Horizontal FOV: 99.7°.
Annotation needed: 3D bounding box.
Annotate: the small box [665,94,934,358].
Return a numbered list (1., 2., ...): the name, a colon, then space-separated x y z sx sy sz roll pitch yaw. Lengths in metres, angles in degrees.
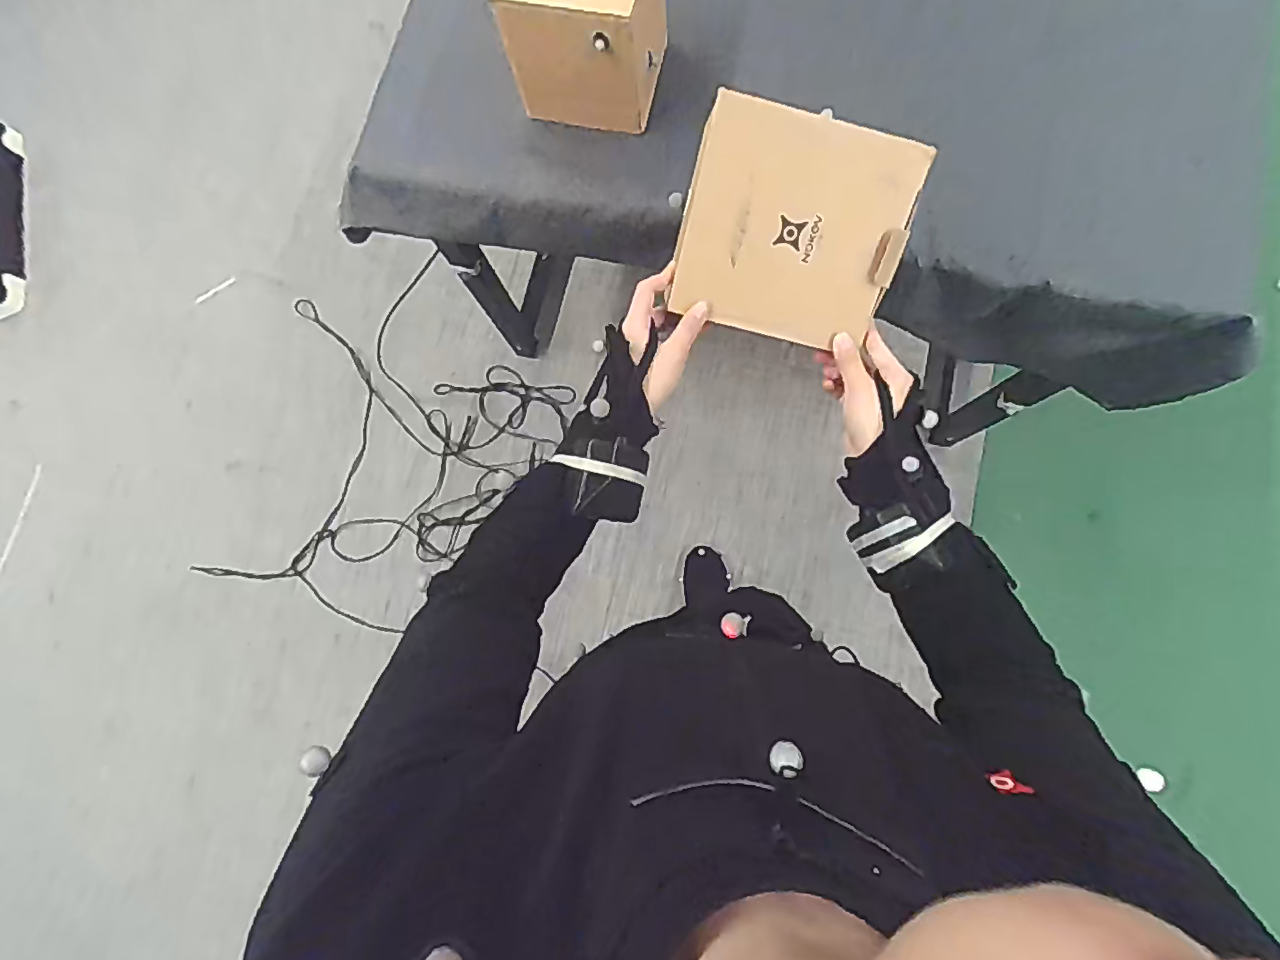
1. small box: 0.126 -0.226 0.509 0.179 0.176 0.168 12 111 -2

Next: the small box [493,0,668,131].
1. small box: -0.066 -0.601 0.714 0.179 0.176 0.168 12 80 6
